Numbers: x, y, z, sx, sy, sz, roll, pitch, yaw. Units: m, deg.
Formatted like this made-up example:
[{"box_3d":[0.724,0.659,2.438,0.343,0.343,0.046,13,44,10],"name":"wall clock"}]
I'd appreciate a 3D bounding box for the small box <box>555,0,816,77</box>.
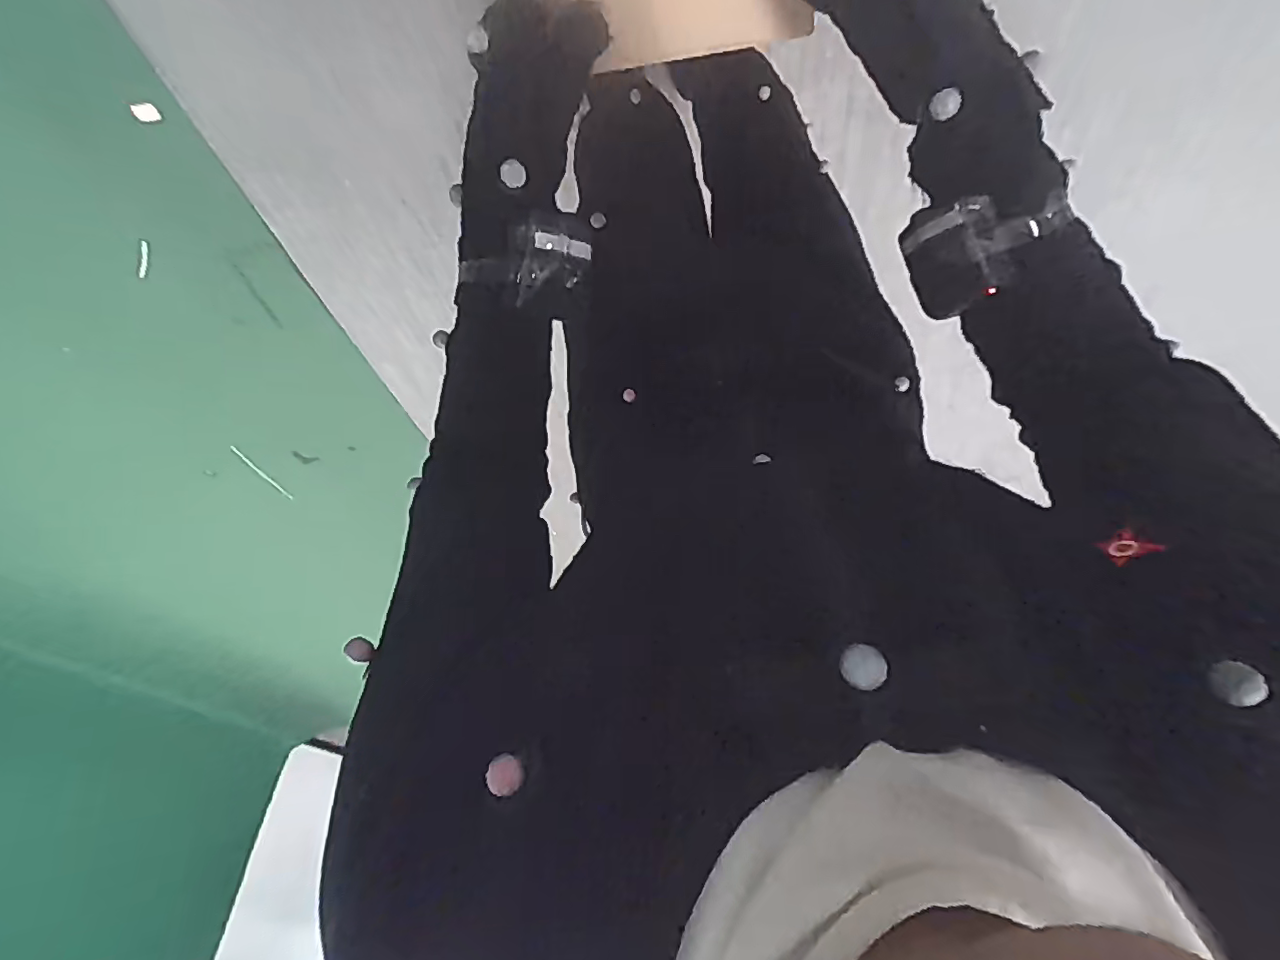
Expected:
[{"box_3d":[0.019,-0.407,0.365,0.179,0.176,0.168,-8,141,2],"name":"small box"}]
